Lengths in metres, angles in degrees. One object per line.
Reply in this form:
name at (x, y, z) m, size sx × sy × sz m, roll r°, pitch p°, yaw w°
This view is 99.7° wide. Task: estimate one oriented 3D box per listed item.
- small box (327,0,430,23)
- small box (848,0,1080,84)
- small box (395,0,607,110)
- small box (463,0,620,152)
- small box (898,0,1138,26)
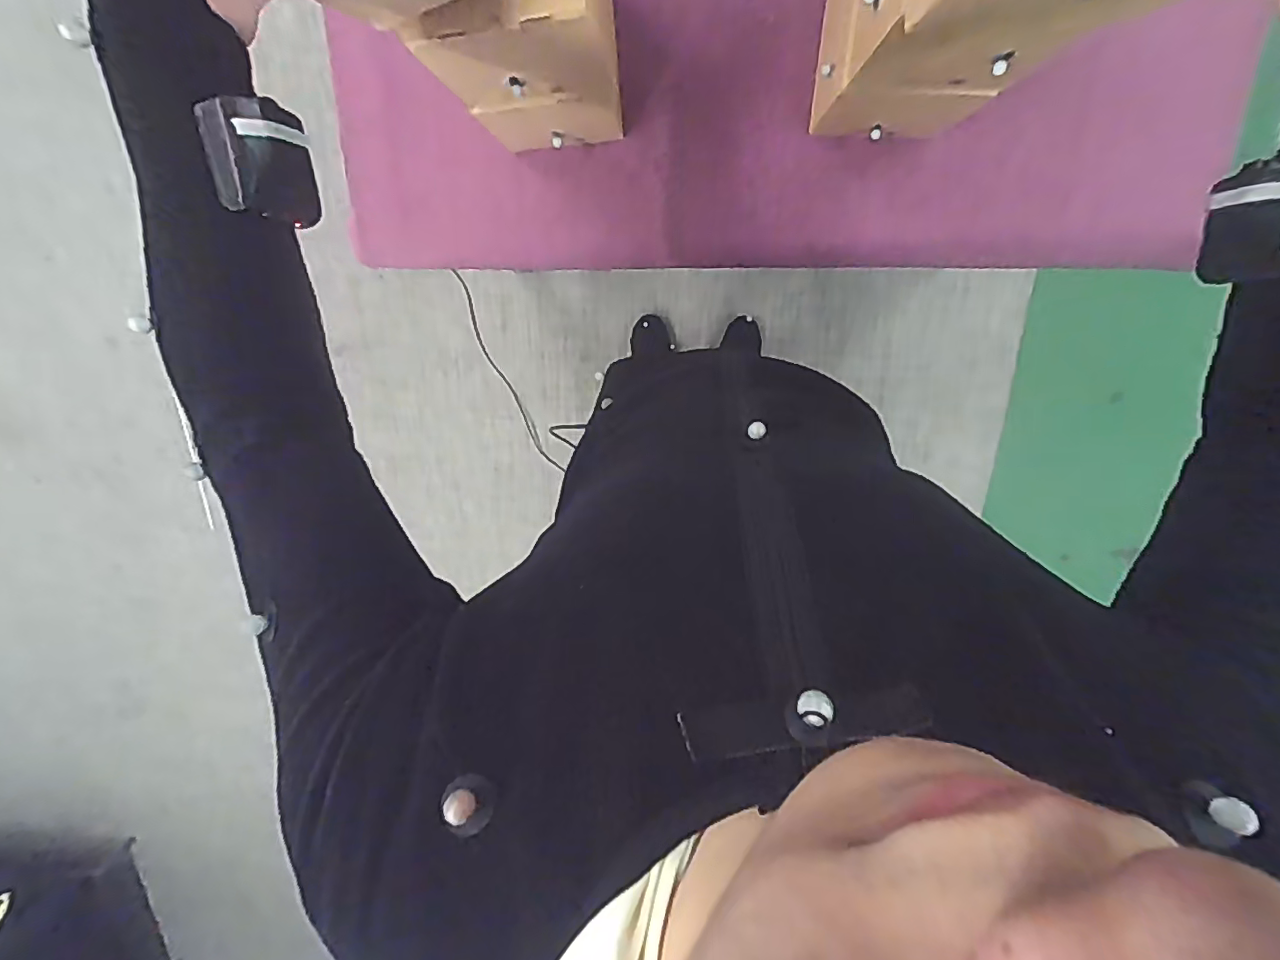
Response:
small box at (-0.186, -0.431, 0.335) m, size 0.179 × 0.176 × 0.168 m, roll -4°, pitch 112°, yaw 20°
small box at (0.294, -0.476, 0.474) m, size 0.168 × 0.176 × 0.179 m, roll 3°, pitch 108°, yaw 4°
small box at (-0.131, -0.488, 0.512) m, size 0.168 × 0.176 × 0.179 m, roll -5°, pitch 108°, yaw 6°
small box at (-0.119, -0.534, 0.667) m, size 0.168 × 0.176 × 0.179 m, roll -2°, pitch 107°, yaw 6°
small box at (0.284, -0.404, 0.318) m, size 0.179 × 0.176 × 0.168 m, roll -1°, pitch 109°, yaw 2°
